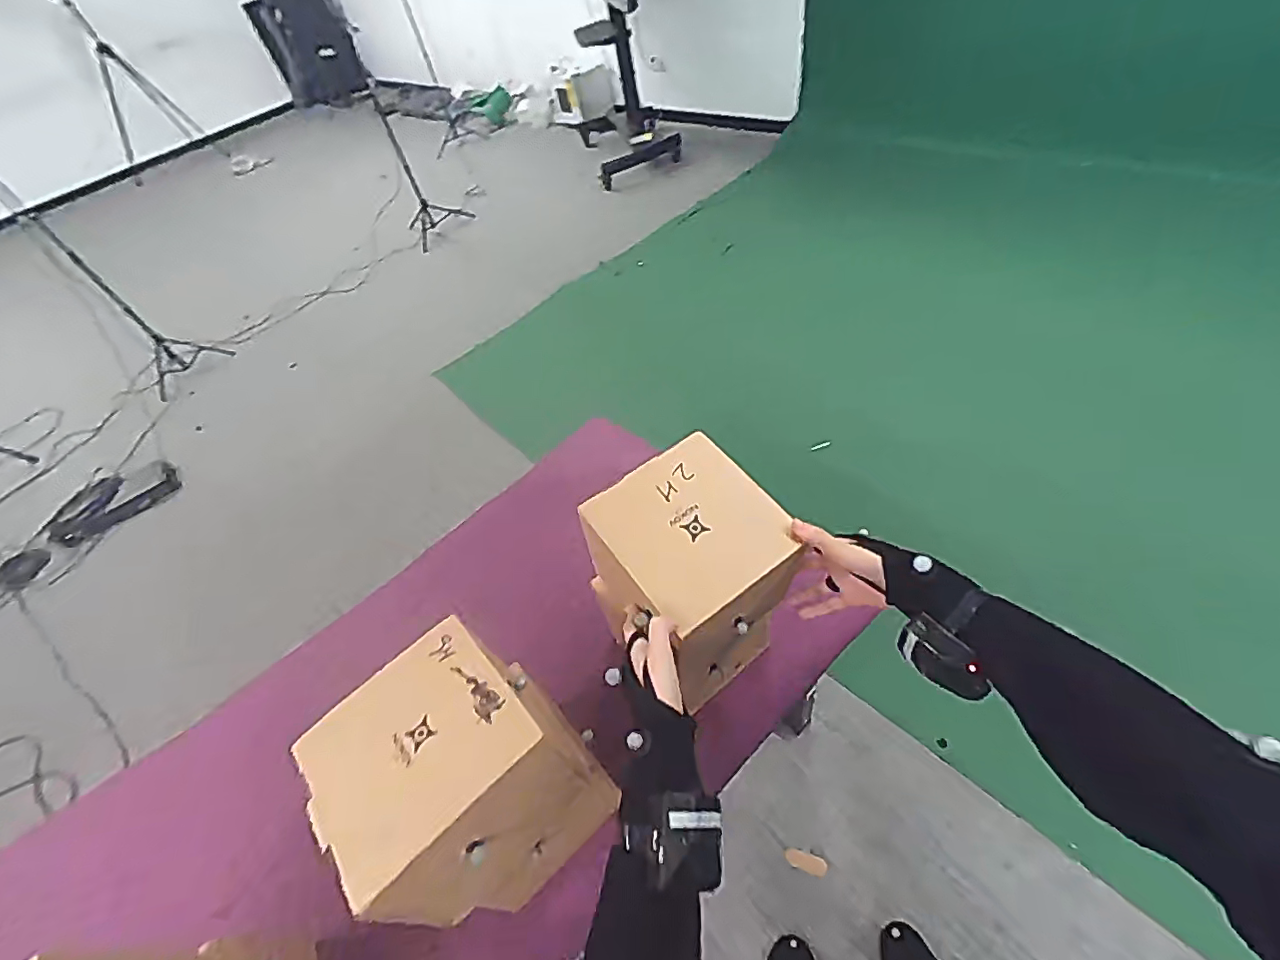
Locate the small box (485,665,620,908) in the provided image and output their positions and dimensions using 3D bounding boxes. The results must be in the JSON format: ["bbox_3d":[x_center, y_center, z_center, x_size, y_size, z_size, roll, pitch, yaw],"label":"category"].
[{"bbox_3d":[-0.147,0.368,0.647,0.179,0.176,0.168,-38,51,-20],"label":"small box"}]

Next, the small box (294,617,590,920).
[{"bbox_3d":[-0.174,0.274,0.515,0.179,0.176,0.168,-40,52,-19],"label":"small box"}]

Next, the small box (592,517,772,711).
[{"bbox_3d":[0.064,0.191,0.748,0.168,0.176,0.179,-35,52,-17],"label":"small box"}]
